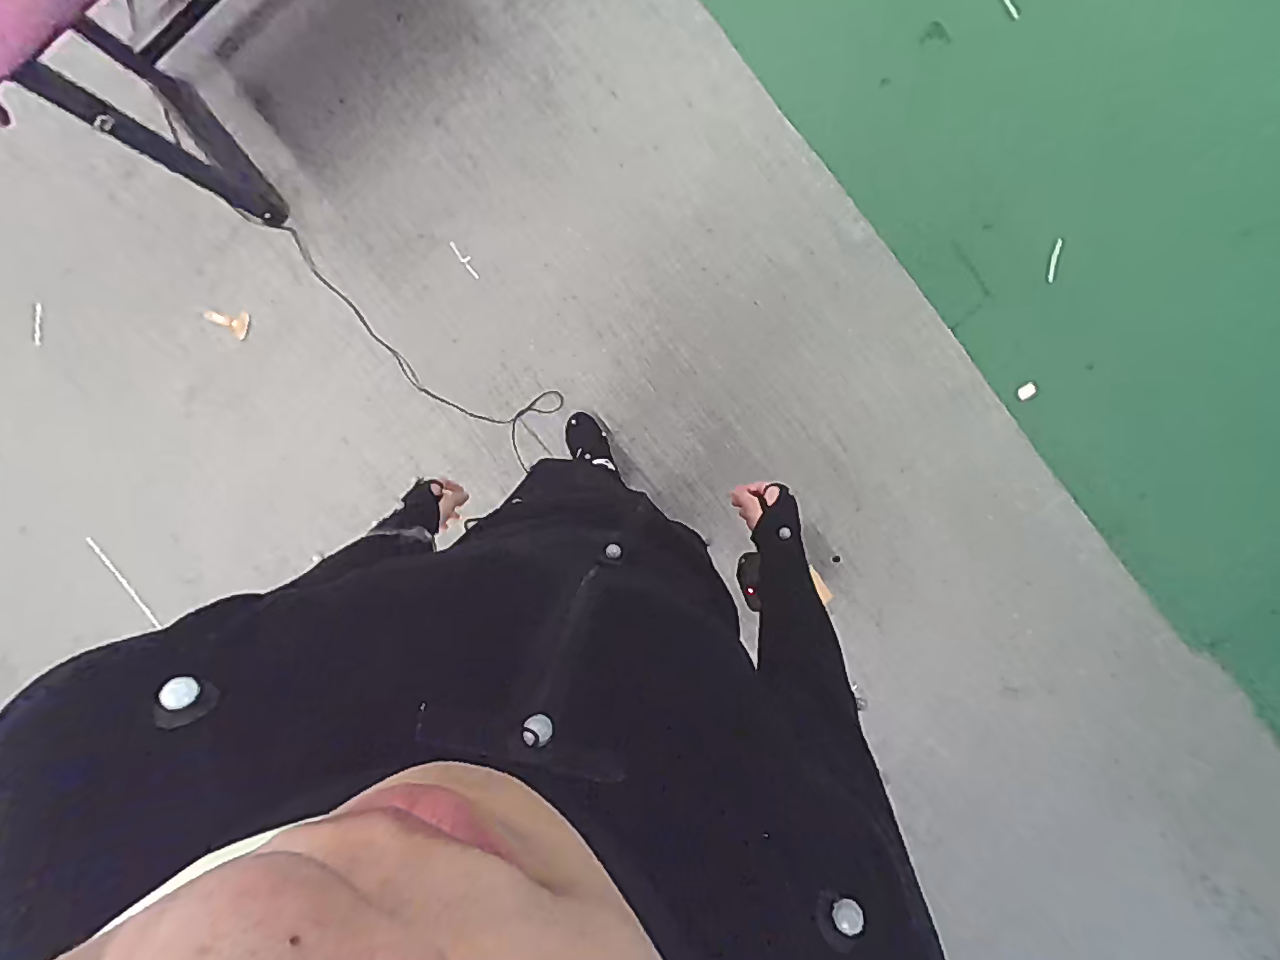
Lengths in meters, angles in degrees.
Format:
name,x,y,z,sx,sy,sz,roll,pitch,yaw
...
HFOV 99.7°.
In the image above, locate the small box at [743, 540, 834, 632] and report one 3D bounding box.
name,x,y,z,sx,sy,sz,roll,pitch,yaw
small box,0.411,0.292,1.529,0.168,0.176,0.179,-35,91,5
